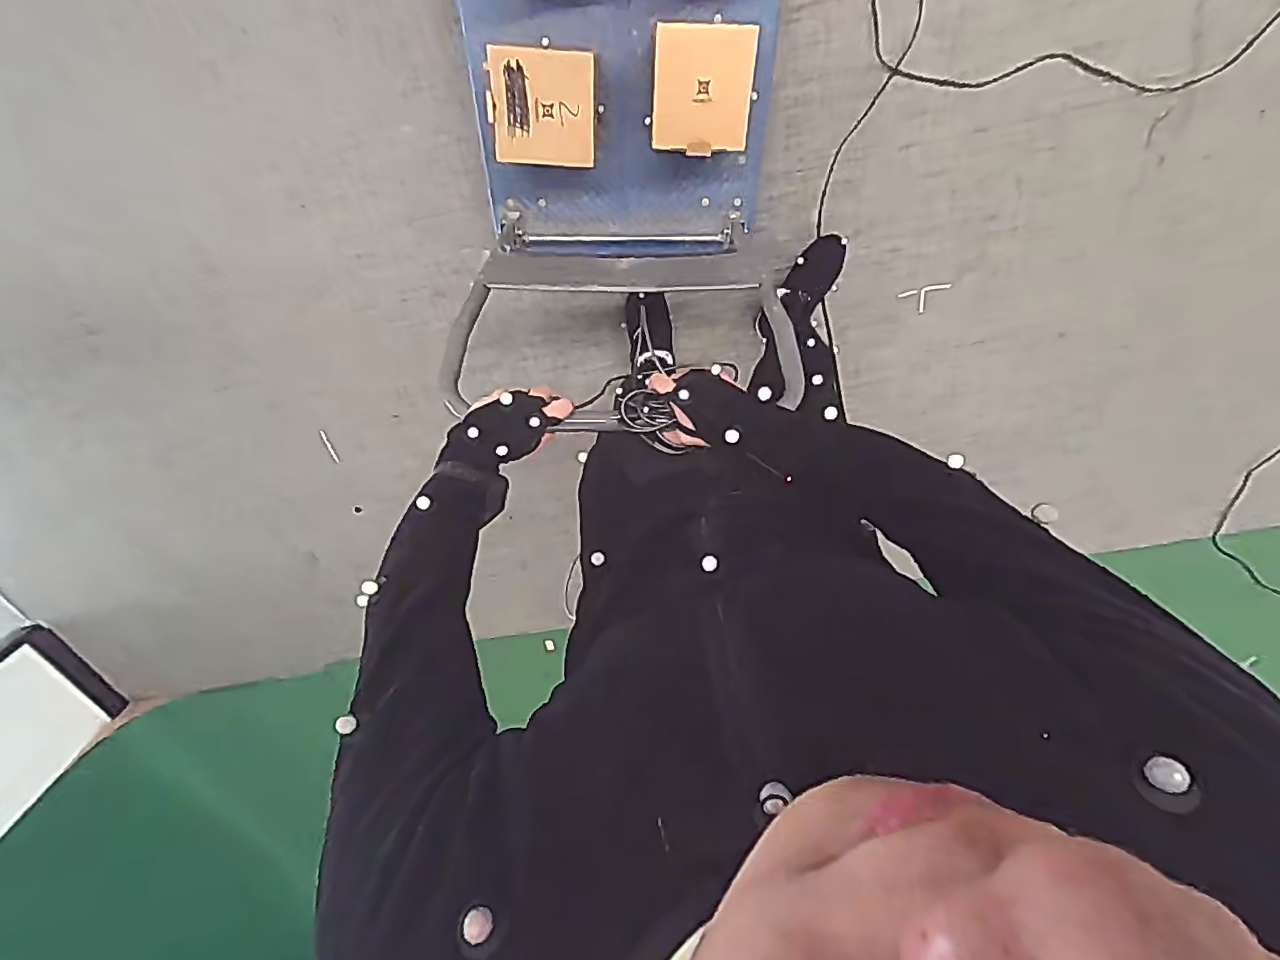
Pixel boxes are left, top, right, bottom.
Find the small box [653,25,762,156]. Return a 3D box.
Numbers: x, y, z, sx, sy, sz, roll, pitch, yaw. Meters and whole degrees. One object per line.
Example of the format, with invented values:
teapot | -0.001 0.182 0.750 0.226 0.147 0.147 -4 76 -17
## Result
small box | 0.111 -0.697 0.970 0.168 0.176 0.179 1 129 -1
